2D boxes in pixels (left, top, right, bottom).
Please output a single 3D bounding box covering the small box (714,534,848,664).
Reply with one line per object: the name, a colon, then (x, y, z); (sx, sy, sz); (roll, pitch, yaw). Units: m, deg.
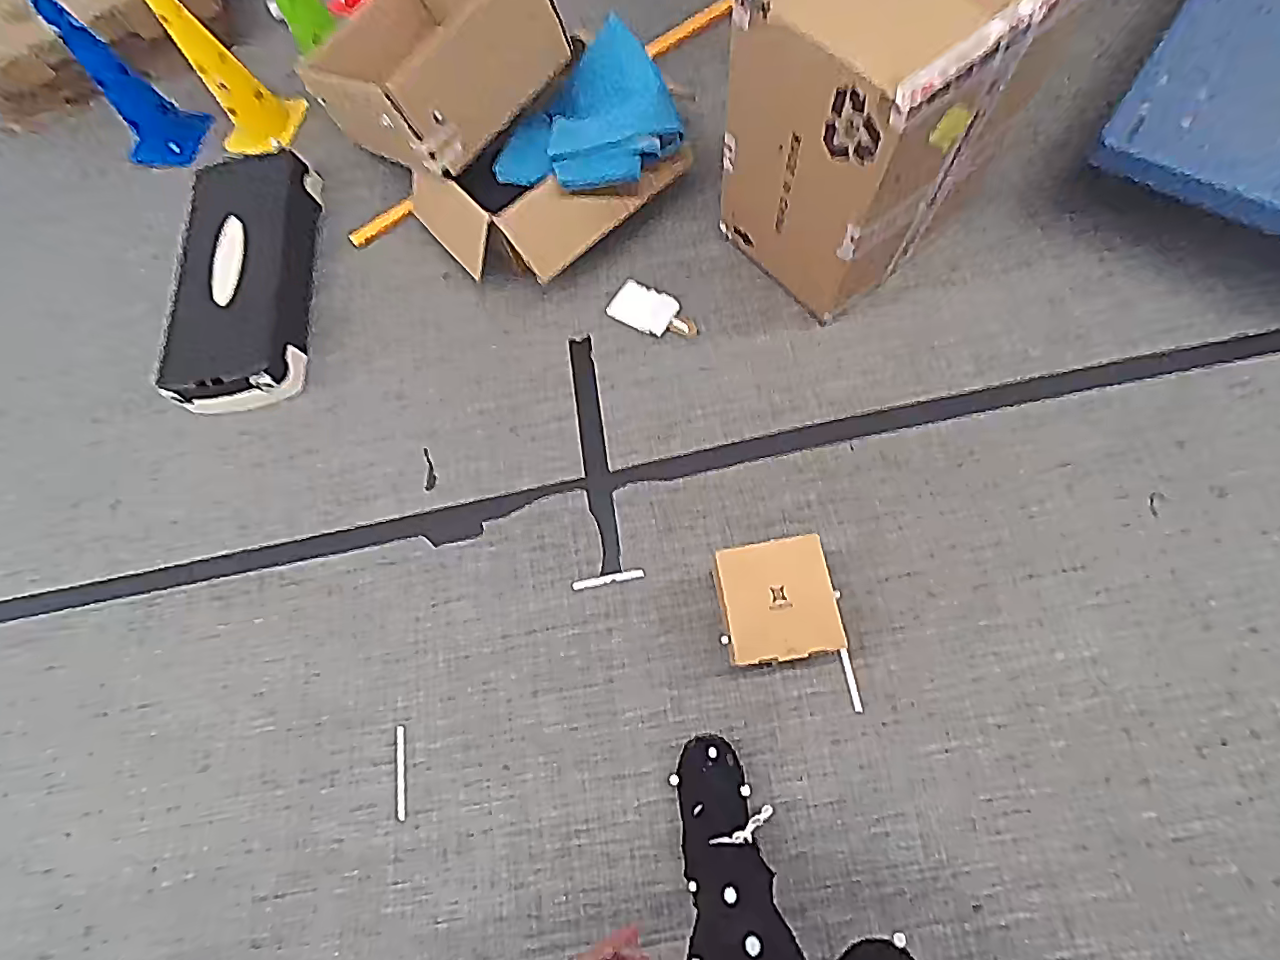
small box: (0.218, 0.202, 0.890); (0.168, 0.176, 0.179); (-11, 71, 3)
